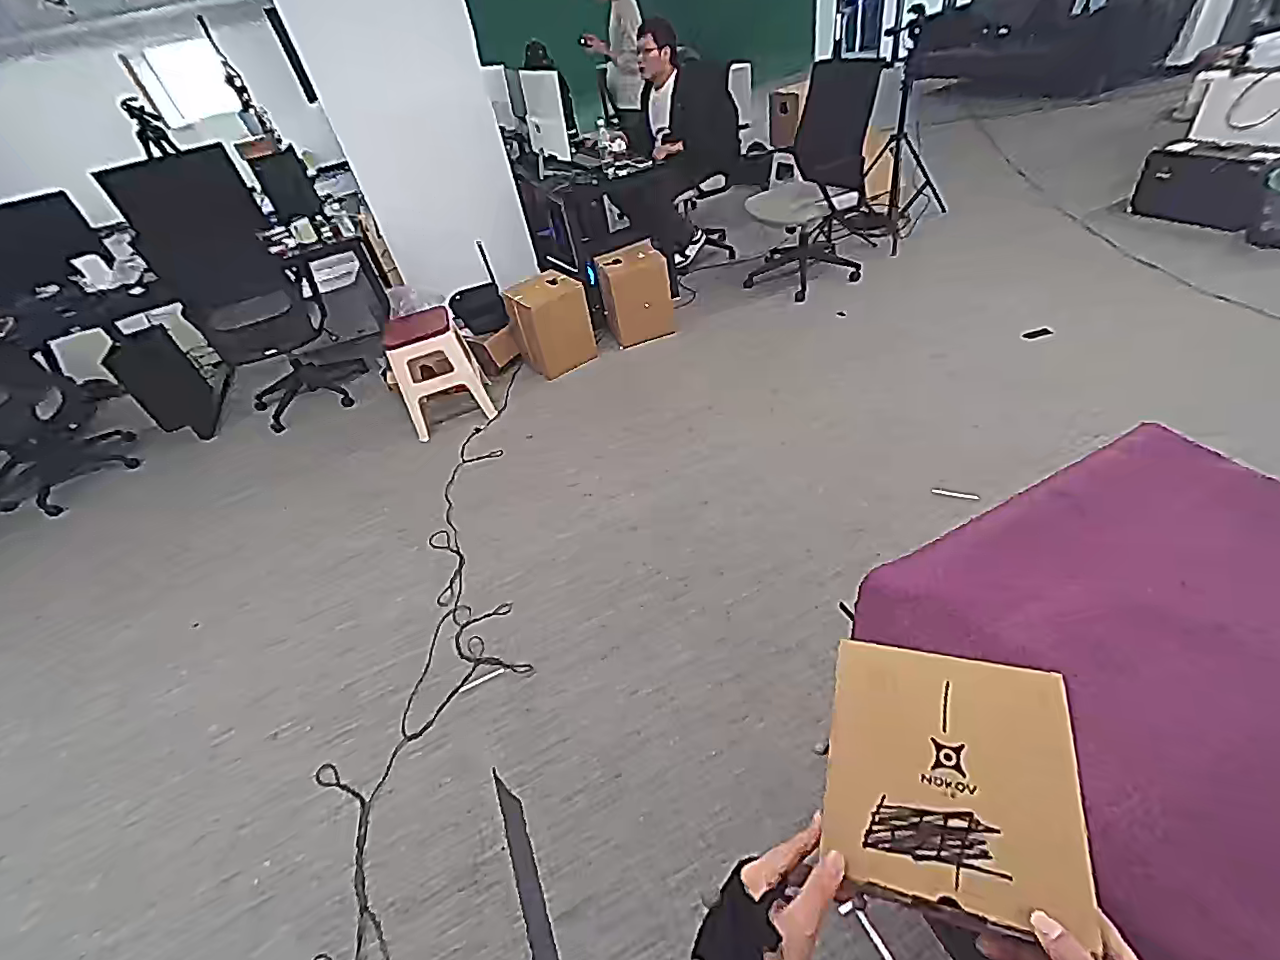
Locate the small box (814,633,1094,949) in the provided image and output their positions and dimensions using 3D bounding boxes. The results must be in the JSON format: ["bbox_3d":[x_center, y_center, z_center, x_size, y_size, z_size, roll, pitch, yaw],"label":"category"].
[{"bbox_3d":[0.244,0.257,0.460,0.168,0.176,0.179,4,53,22],"label":"small box"}]

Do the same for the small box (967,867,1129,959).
[{"bbox_3d":[0.631,0.685,0.892,0.168,0.176,0.179,-29,42,-14],"label":"small box"}]
